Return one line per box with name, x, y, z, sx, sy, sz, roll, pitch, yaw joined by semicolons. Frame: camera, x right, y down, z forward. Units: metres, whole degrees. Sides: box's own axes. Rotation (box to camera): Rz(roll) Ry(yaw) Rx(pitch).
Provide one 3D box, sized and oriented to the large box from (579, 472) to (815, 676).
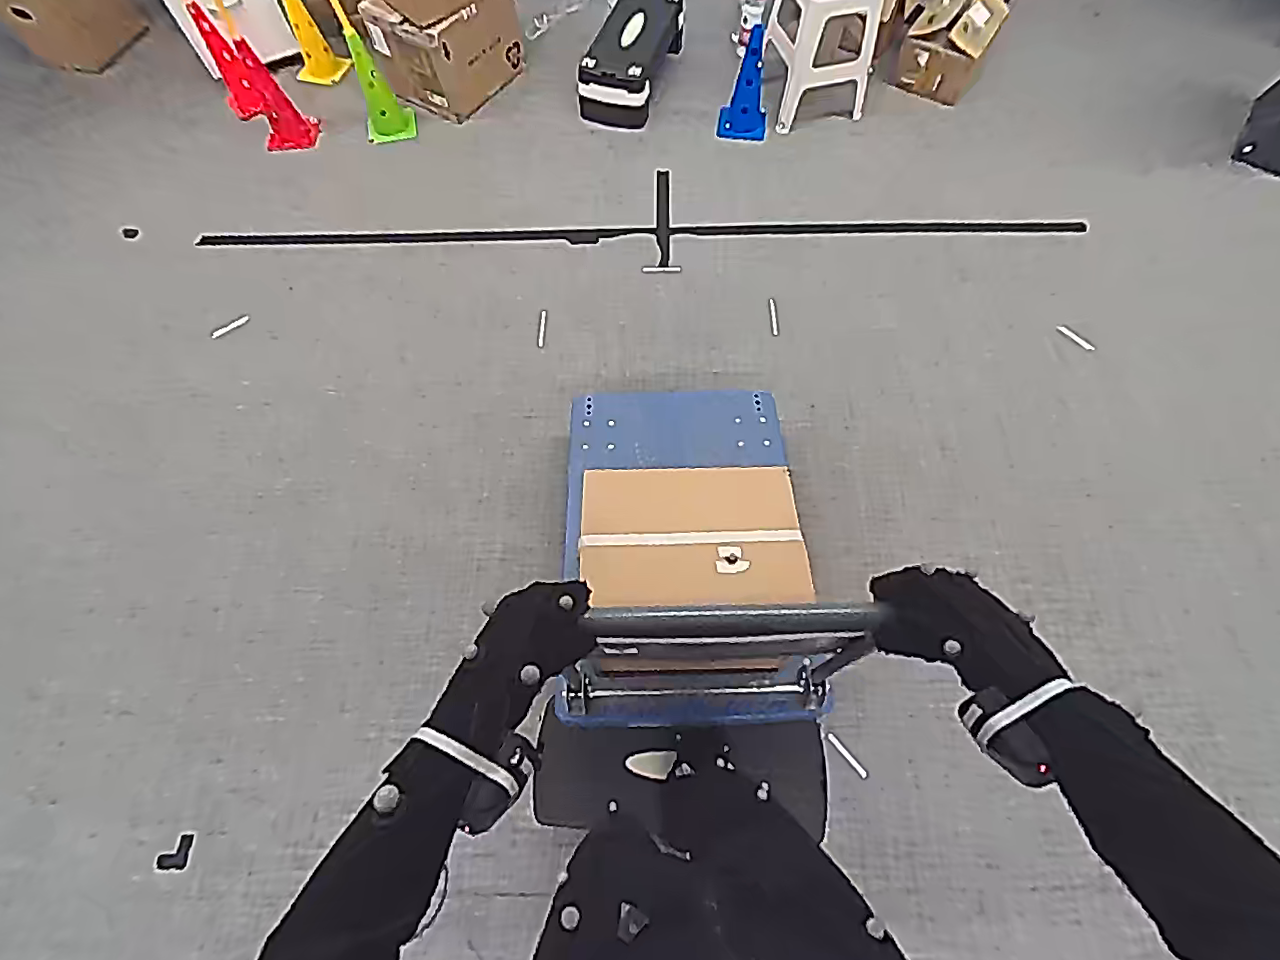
large box;0.088;0.198;1.100;0.408;0.320;0.320;-1;58;-1
